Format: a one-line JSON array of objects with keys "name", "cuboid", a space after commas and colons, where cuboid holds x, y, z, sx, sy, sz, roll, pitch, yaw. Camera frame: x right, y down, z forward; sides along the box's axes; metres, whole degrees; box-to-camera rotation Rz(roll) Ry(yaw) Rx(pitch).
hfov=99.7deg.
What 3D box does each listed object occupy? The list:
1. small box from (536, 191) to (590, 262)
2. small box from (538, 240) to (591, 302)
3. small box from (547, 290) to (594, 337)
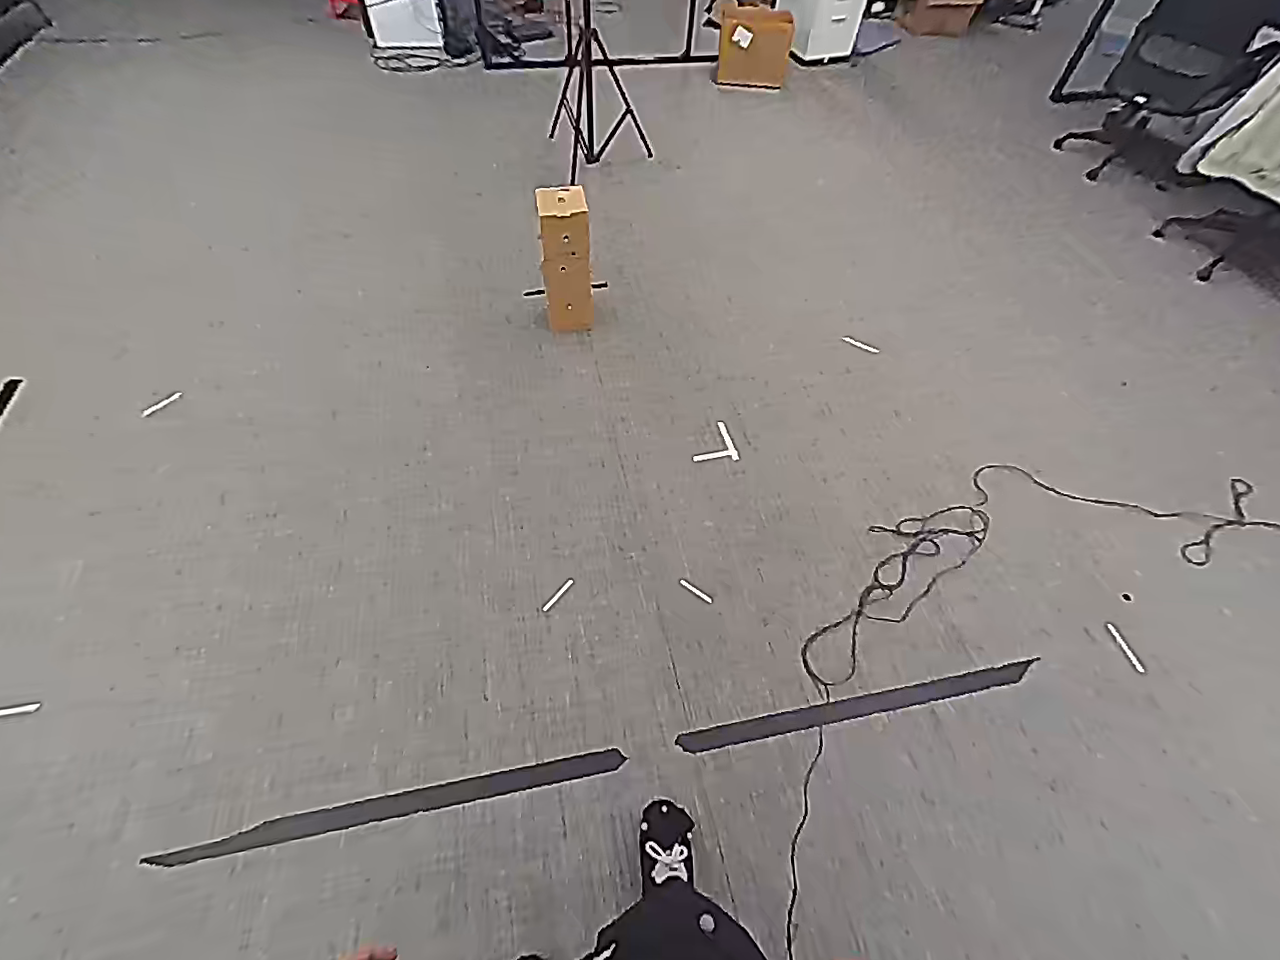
[{"name": "small box", "cuboid": [-0.268, -0.884, 1.899, 0.168, 0.176, 0.179, -8, 57, -7]}, {"name": "small box", "cuboid": [-0.282, -0.787, 2.031, 0.179, 0.176, 0.168, -7, 57, -7]}, {"name": "small box", "cuboid": [-0.281, -0.697, 2.169, 0.179, 0.176, 0.168, -9, 56, -8]}]
